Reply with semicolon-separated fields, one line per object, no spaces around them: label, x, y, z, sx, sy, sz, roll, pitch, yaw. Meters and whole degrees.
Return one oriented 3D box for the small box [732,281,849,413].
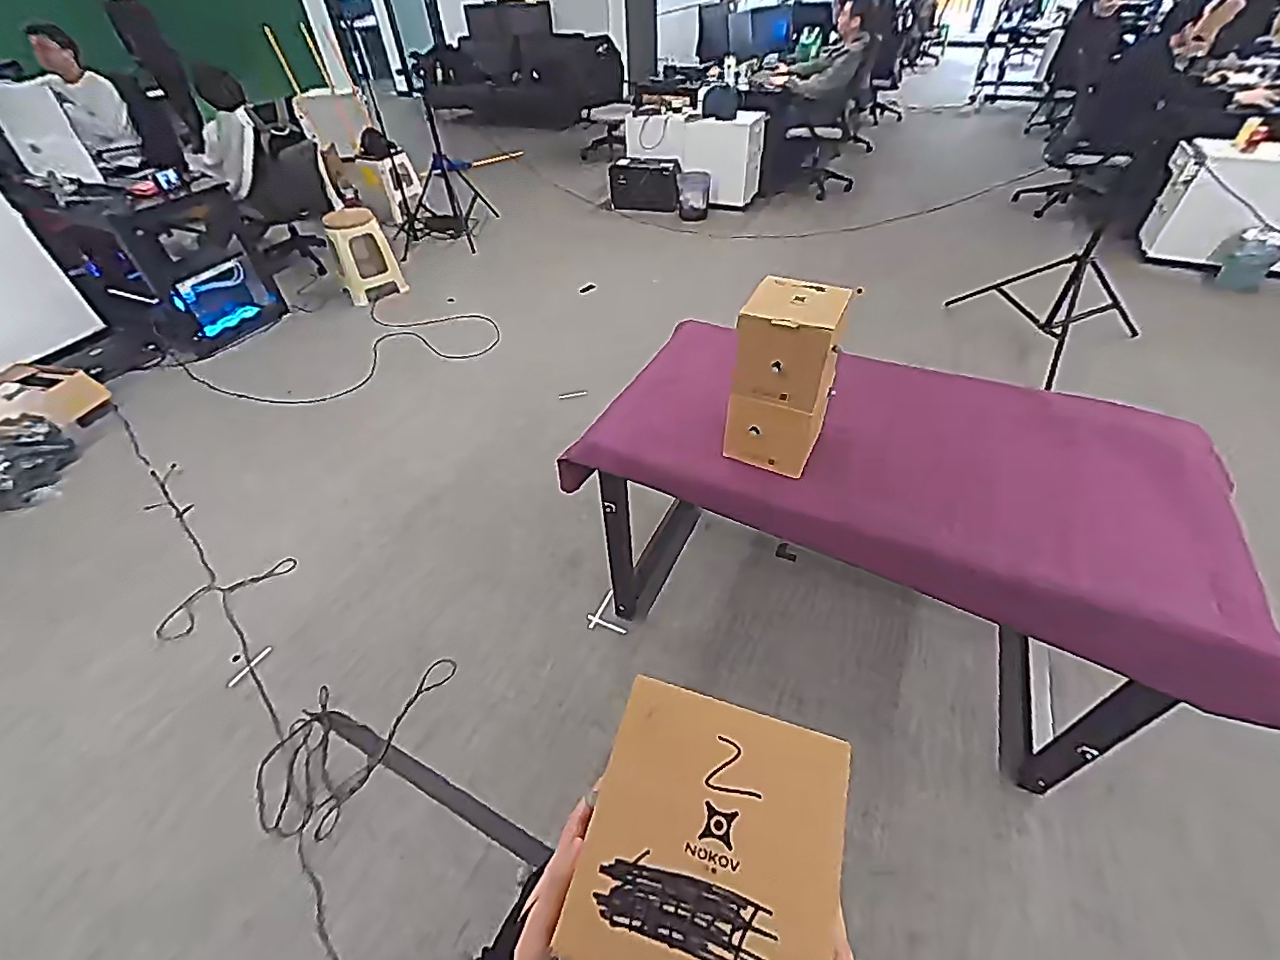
small box;0.280;-0.250;1.025;0.168;0.176;0.179;18;47;19

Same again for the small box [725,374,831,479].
small box;0.284;-0.128;1.134;0.168;0.176;0.179;19;47;21
